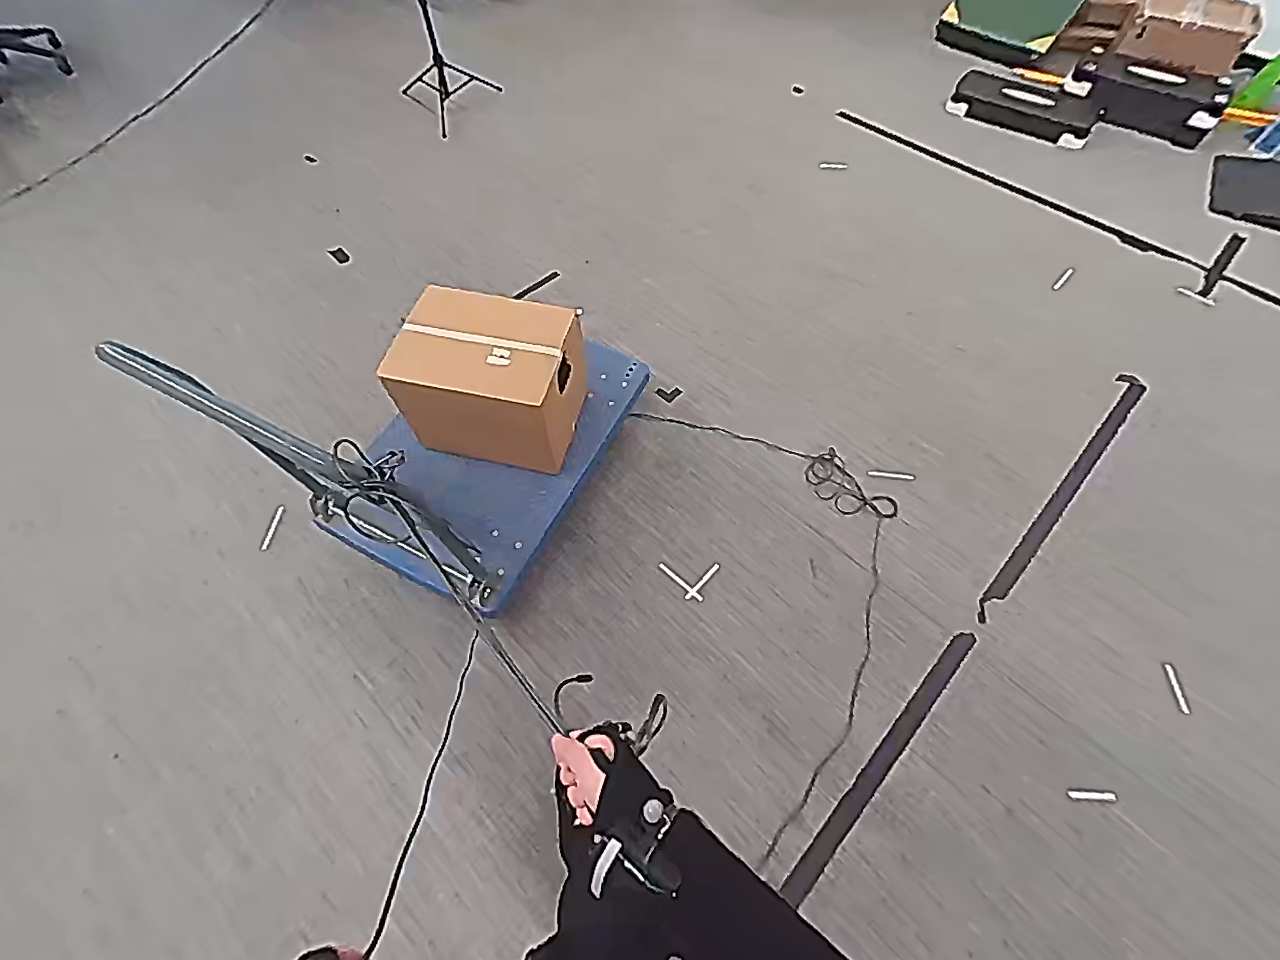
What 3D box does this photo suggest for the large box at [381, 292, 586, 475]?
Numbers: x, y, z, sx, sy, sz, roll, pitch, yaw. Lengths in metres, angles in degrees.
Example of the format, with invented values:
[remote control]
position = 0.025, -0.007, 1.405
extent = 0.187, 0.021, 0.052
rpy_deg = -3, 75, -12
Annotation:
[large box]
position = -0.380, -0.247, 1.431
extent = 0.408, 0.320, 0.320
rpy_deg = 11, 61, 5
